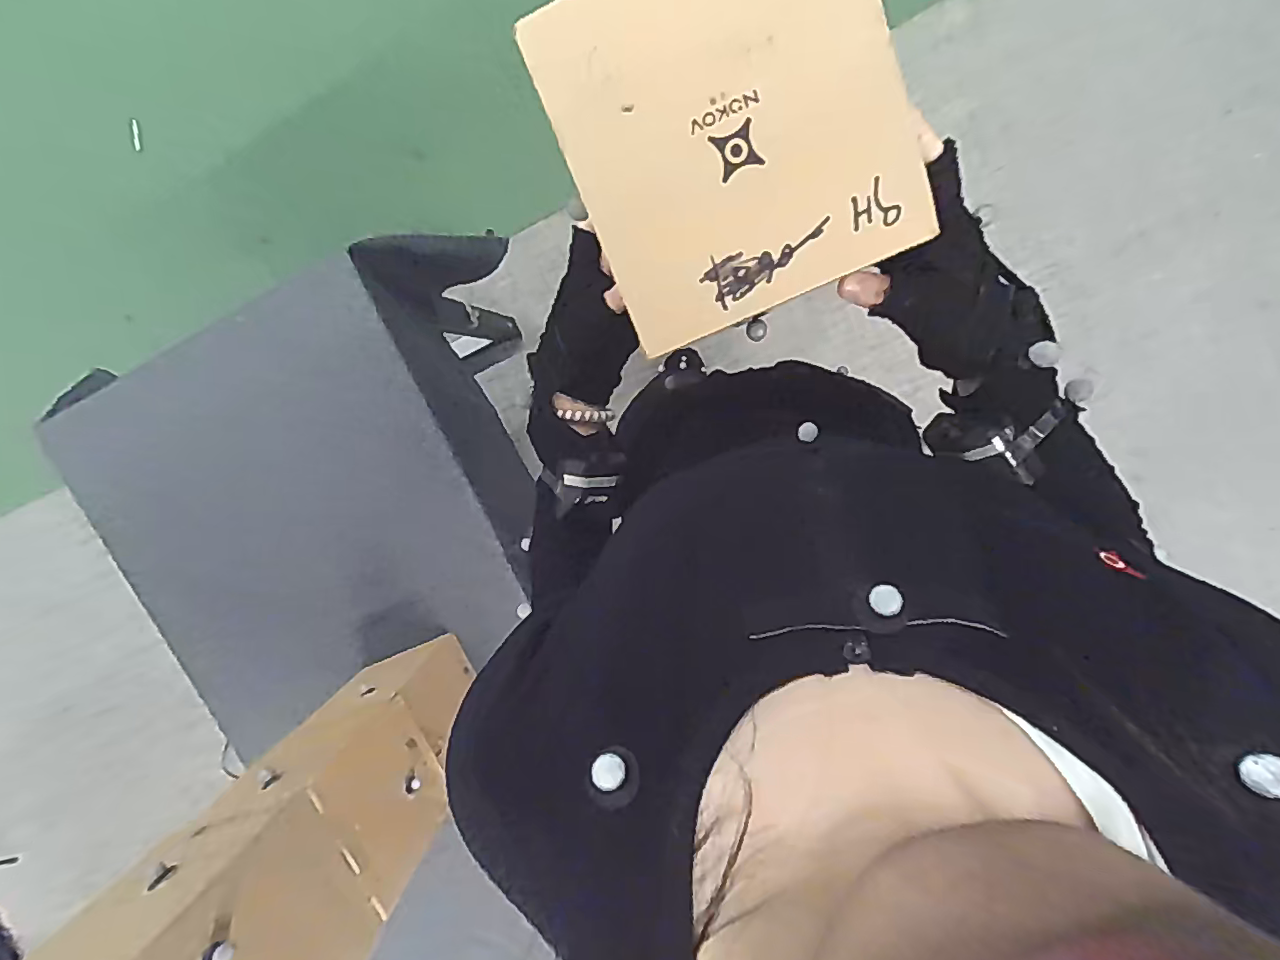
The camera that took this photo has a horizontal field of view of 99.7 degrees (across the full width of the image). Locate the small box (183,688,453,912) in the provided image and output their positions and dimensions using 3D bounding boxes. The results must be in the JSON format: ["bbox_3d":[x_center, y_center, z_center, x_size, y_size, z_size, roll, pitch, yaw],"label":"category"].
[{"bbox_3d":[-0.356,0.378,0.631,0.179,0.176,0.168,-24,97,10],"label":"small box"}]

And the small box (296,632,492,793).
[{"bbox_3d":[-0.339,0.349,0.790,0.179,0.176,0.168,-24,97,11],"label":"small box"}]

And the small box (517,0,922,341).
[{"bbox_3d":[0.045,-0.201,0.355,0.168,0.176,0.179,-21,102,8],"label":"small box"}]
